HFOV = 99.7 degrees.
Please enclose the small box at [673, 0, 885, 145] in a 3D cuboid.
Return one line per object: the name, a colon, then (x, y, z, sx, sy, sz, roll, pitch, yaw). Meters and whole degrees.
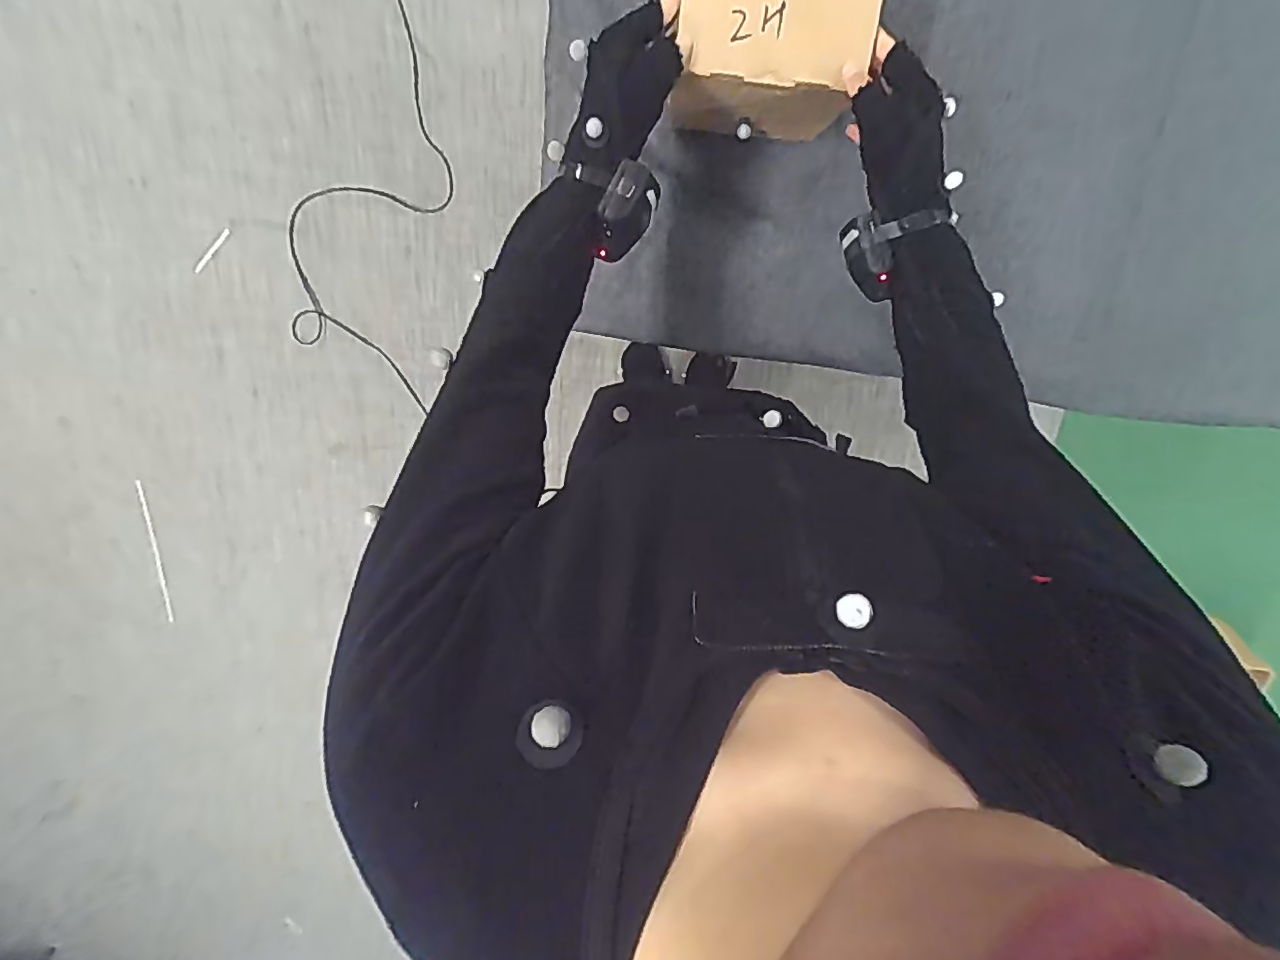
small box: (0.123, -0.447, 0.511, 0.168, 0.176, 0.179, 6, 108, 0)
